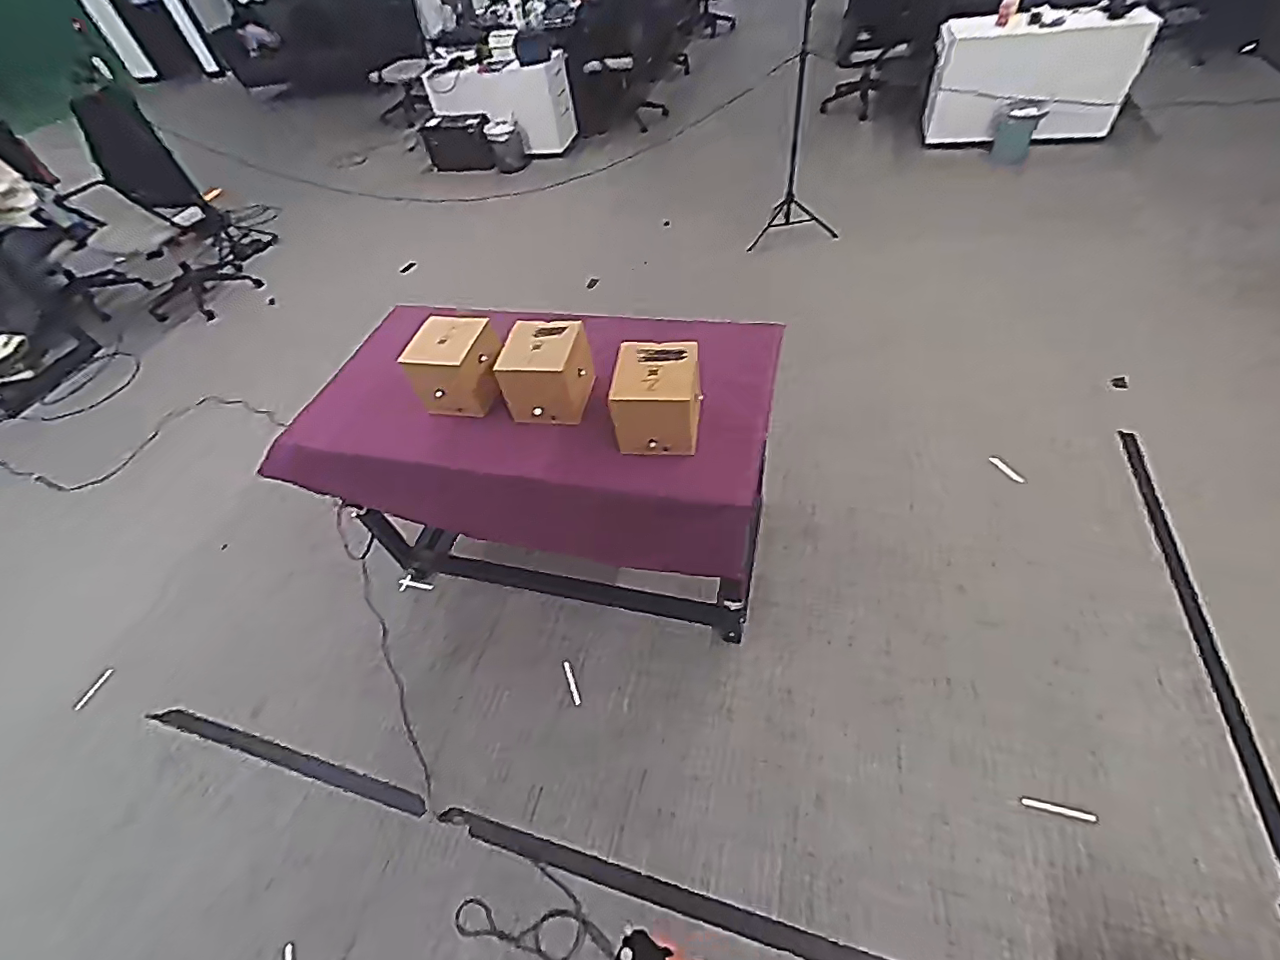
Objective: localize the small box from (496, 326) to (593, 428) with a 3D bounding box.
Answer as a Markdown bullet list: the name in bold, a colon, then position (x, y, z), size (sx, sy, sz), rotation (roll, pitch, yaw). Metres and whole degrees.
- **small box**: position (-0.217, -0.247, 1.290), size (0.168, 0.176, 0.179), rotation (3, 52, 12)

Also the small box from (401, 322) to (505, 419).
- **small box**: position (-0.450, -0.272, 1.347), size (0.168, 0.176, 0.179), rotation (6, 52, 14)
